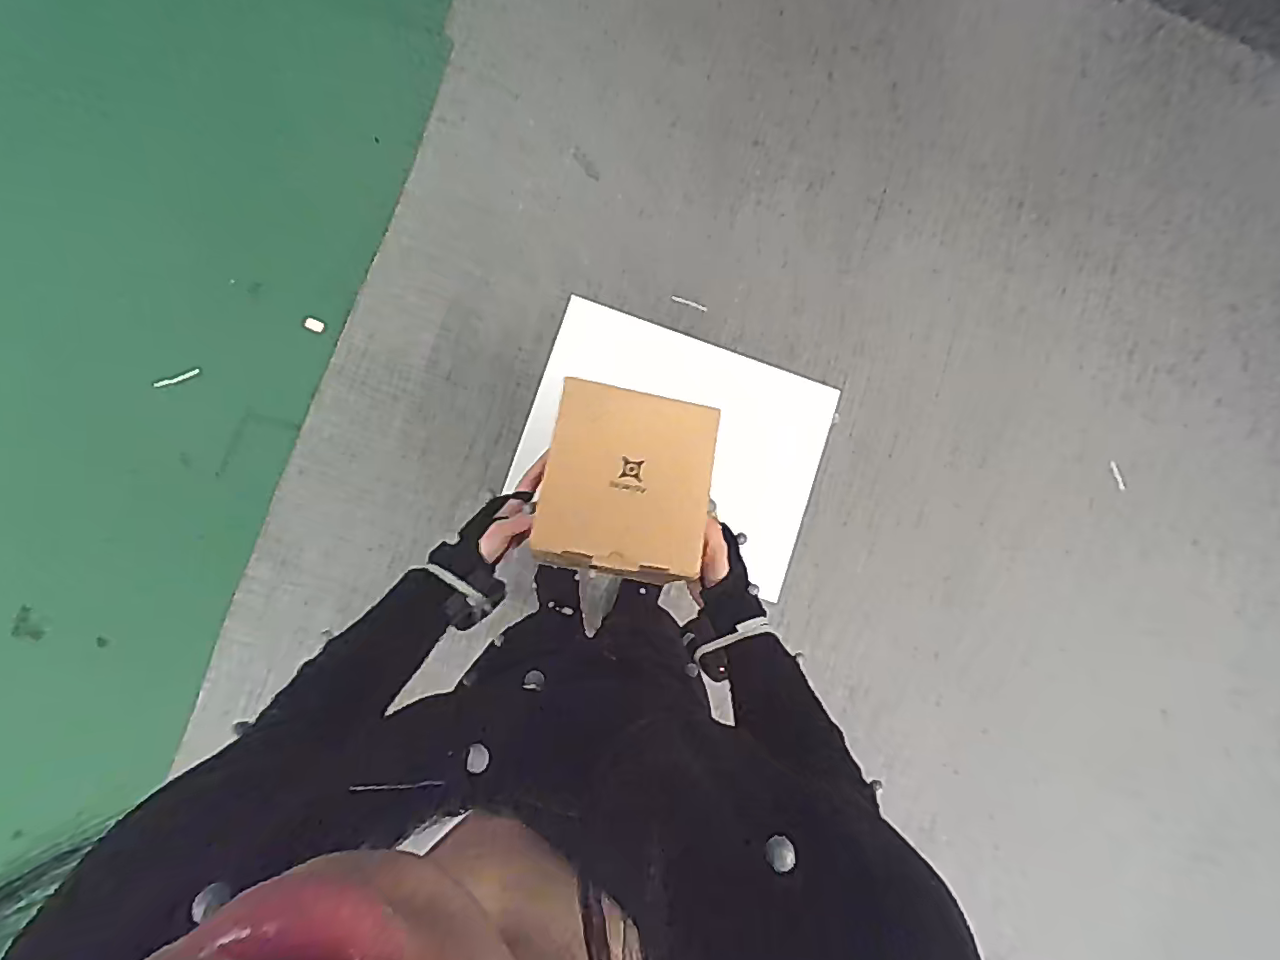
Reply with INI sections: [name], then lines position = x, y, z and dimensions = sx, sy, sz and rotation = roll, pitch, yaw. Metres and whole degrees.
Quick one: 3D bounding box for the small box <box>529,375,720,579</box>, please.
[small box]
position = -0.022, 0.009, 0.592
dimensions = 0.168, 0.176, 0.179
rotation = 9, 78, -6
